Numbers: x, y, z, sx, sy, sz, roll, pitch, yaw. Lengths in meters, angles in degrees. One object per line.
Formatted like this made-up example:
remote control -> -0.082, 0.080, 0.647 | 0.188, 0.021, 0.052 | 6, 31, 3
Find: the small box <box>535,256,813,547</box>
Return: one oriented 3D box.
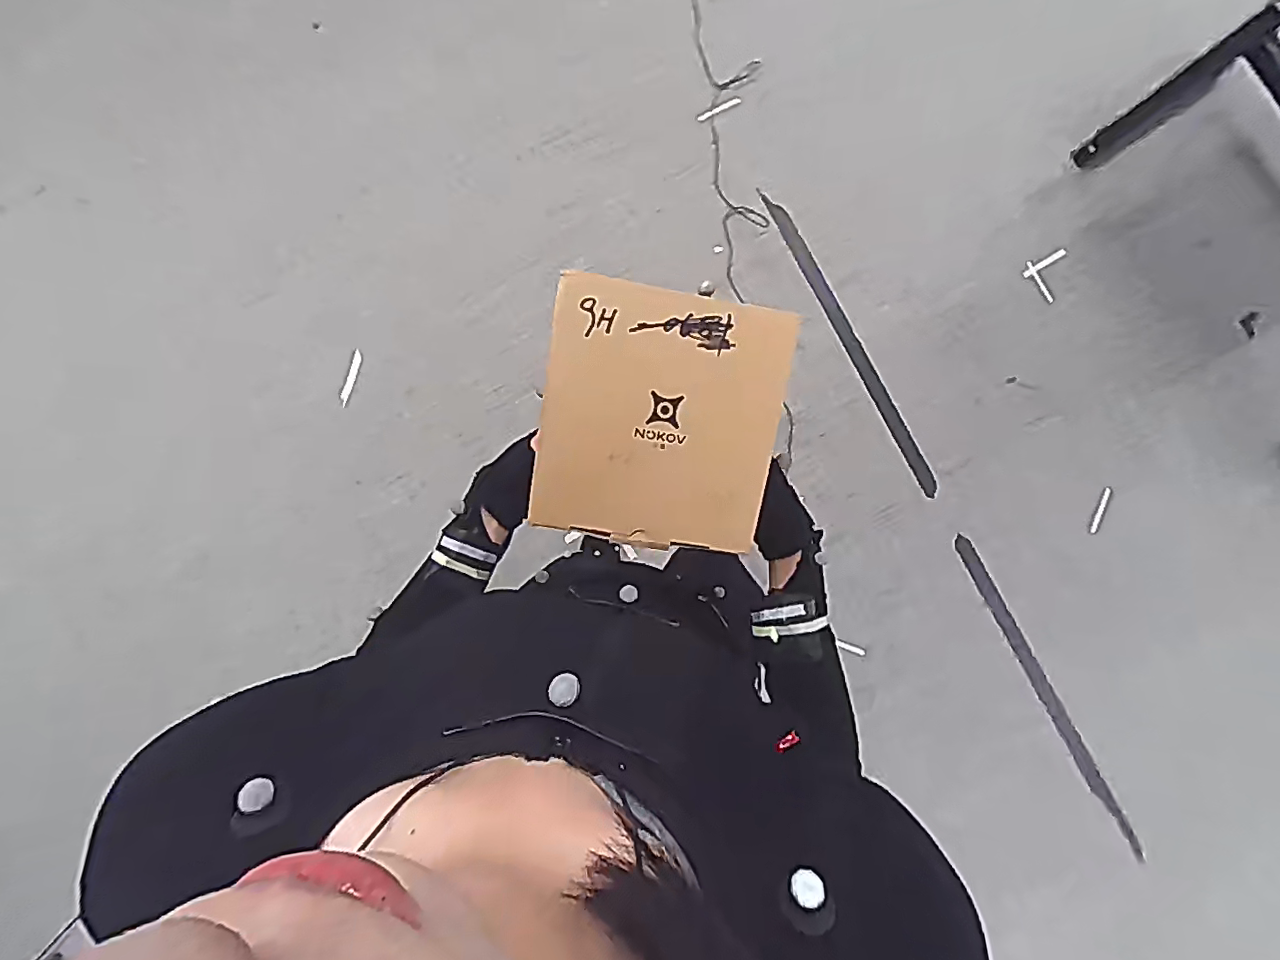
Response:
small box -> 0.015, -0.064, 0.445 | 0.168, 0.176, 0.179 | 9, 102, -7
